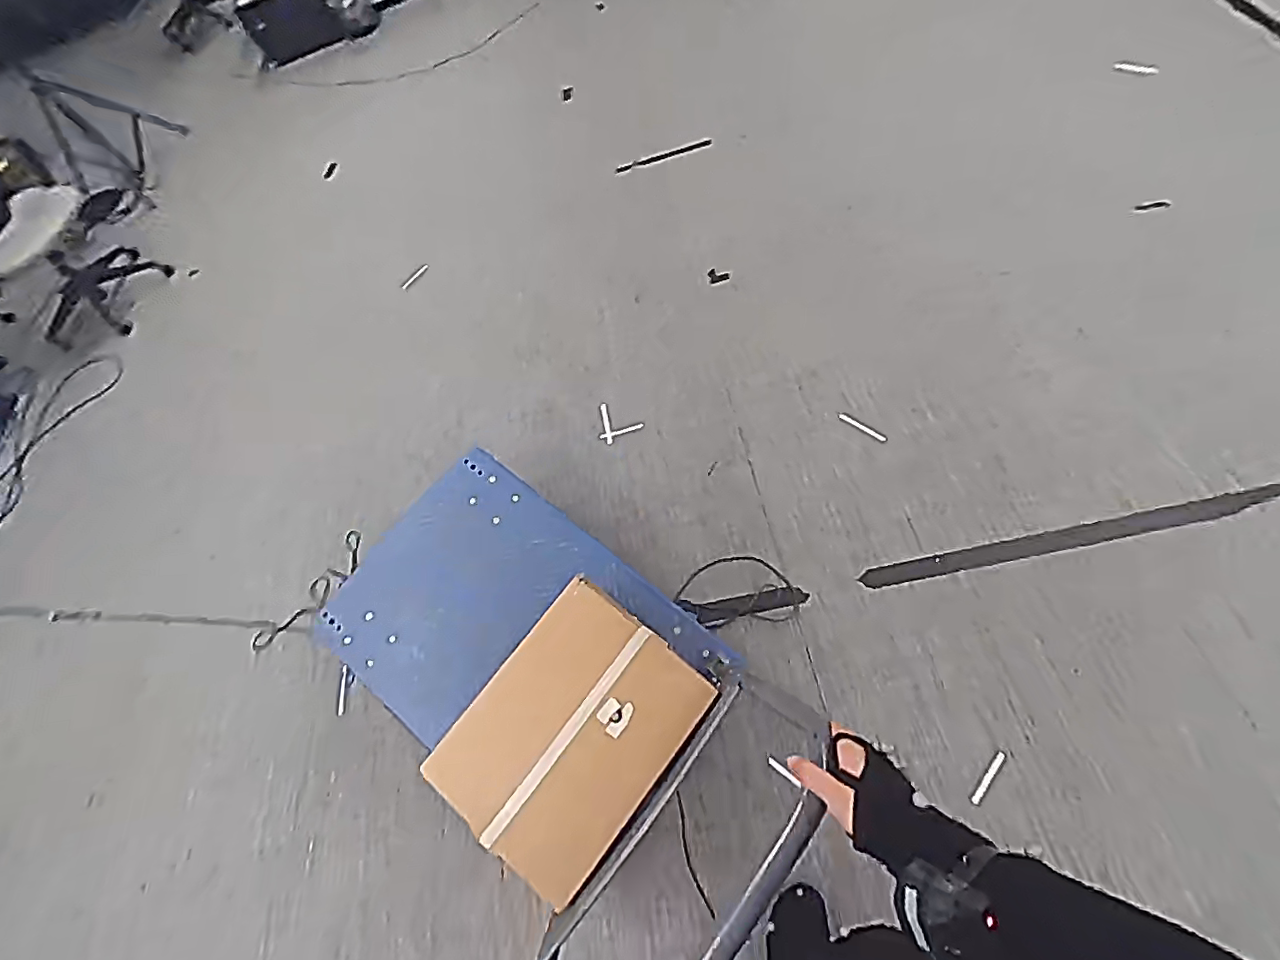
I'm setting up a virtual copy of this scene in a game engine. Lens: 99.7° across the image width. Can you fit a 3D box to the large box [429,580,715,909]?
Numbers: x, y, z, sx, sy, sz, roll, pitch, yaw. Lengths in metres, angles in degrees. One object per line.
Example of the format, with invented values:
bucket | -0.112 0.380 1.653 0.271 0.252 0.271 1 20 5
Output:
large box | -0.103 0.462 1.031 0.320 0.320 0.408 36 77 13
